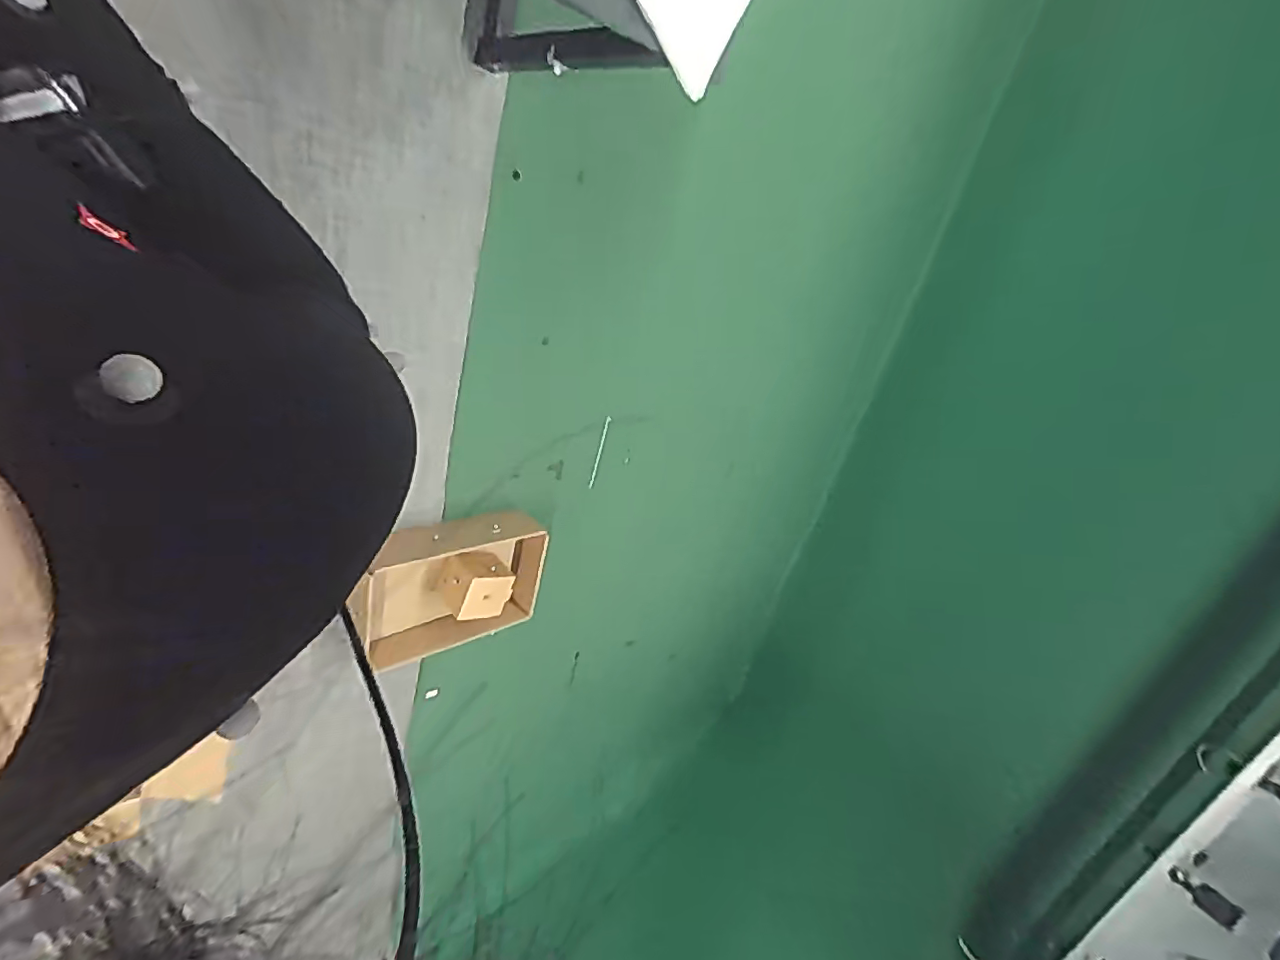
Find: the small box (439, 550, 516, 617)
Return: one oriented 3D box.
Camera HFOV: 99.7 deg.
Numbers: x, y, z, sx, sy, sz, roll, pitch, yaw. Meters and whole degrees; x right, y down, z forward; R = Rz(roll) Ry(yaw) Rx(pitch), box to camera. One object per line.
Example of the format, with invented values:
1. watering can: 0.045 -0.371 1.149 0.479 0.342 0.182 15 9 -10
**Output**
1. small box: -0.571 0.354 1.881 0.179 0.176 0.168 8 111 -50
